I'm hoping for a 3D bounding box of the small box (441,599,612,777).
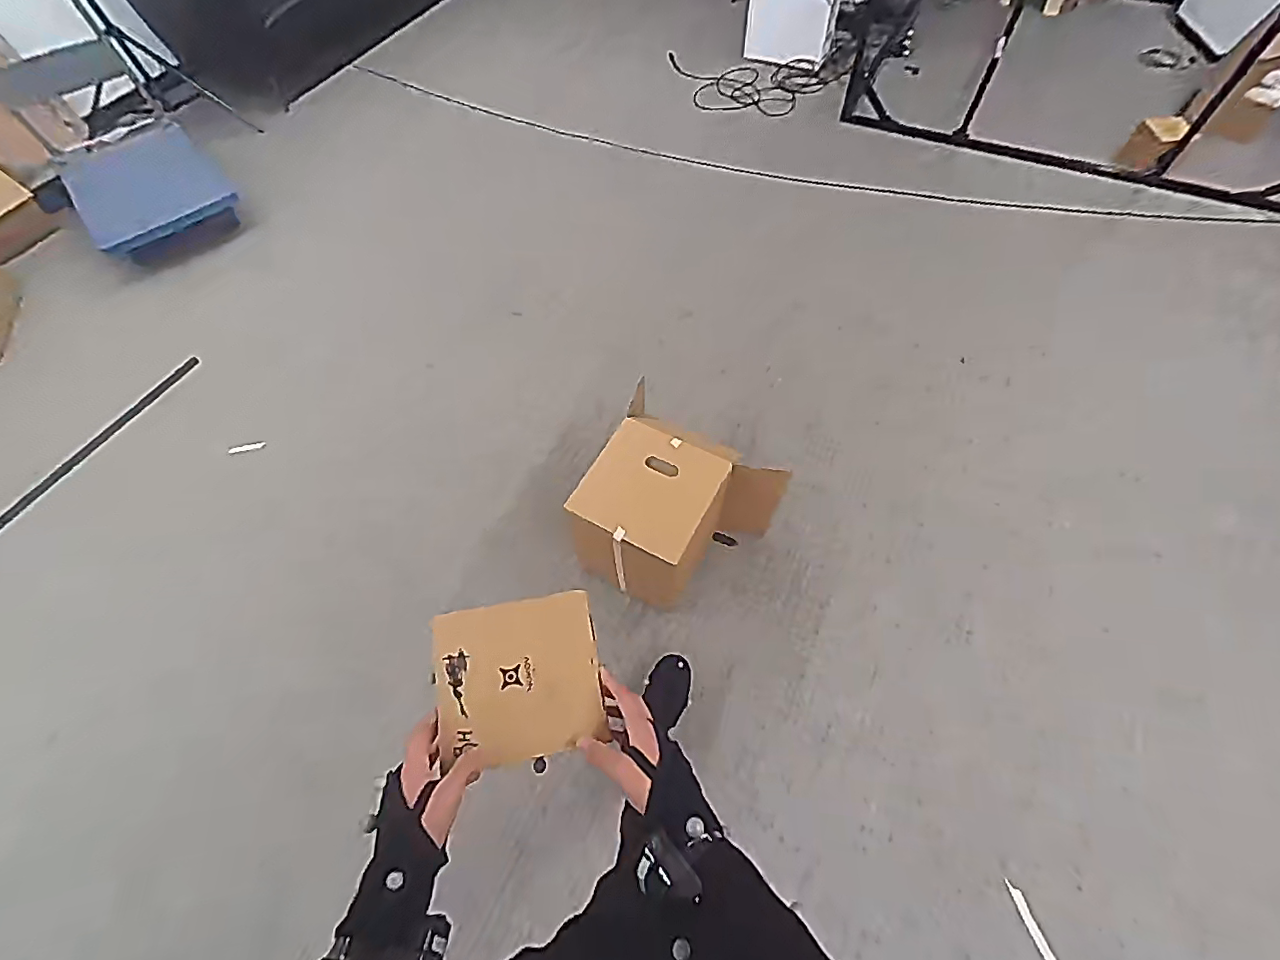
[{"bbox_3d":[-0.137,0.256,0.670,0.179,0.176,0.168,-7,65,-9],"label":"small box"}]
